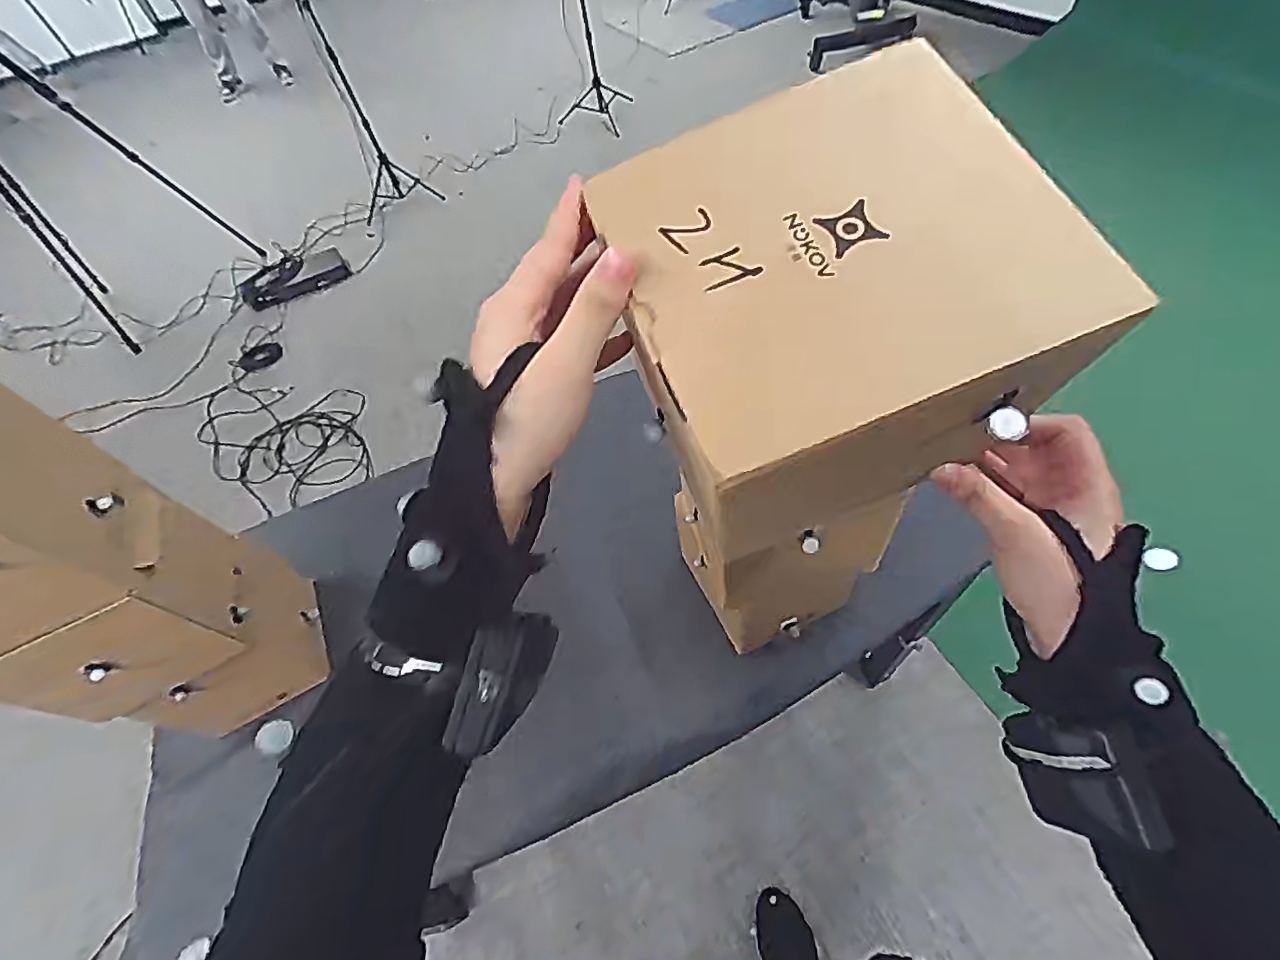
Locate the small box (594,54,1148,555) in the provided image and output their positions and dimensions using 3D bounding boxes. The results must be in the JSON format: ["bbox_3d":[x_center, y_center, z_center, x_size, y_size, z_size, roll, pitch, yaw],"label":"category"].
[{"bbox_3d":[0.095,-0.074,0.304,0.179,0.176,0.168,-22,68,2],"label":"small box"}]

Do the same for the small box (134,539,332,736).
[{"bbox_3d":[-0.559,0.220,0.745,0.168,0.176,0.179,-28,56,-10],"label":"small box"}]

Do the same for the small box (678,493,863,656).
[{"bbox_3d":[0.164,0.098,0.705,0.168,0.176,0.179,-25,55,-7],"label":"small box"}]

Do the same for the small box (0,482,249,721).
[{"bbox_3d":[-0.573,0.139,0.601,0.179,0.176,0.168,-28,57,-9],"label":"small box"}]

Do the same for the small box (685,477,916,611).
[{"bbox_3d":[0.146,0.015,0.566,0.179,0.176,0.168,-17,53,0],"label":"small box"}]
